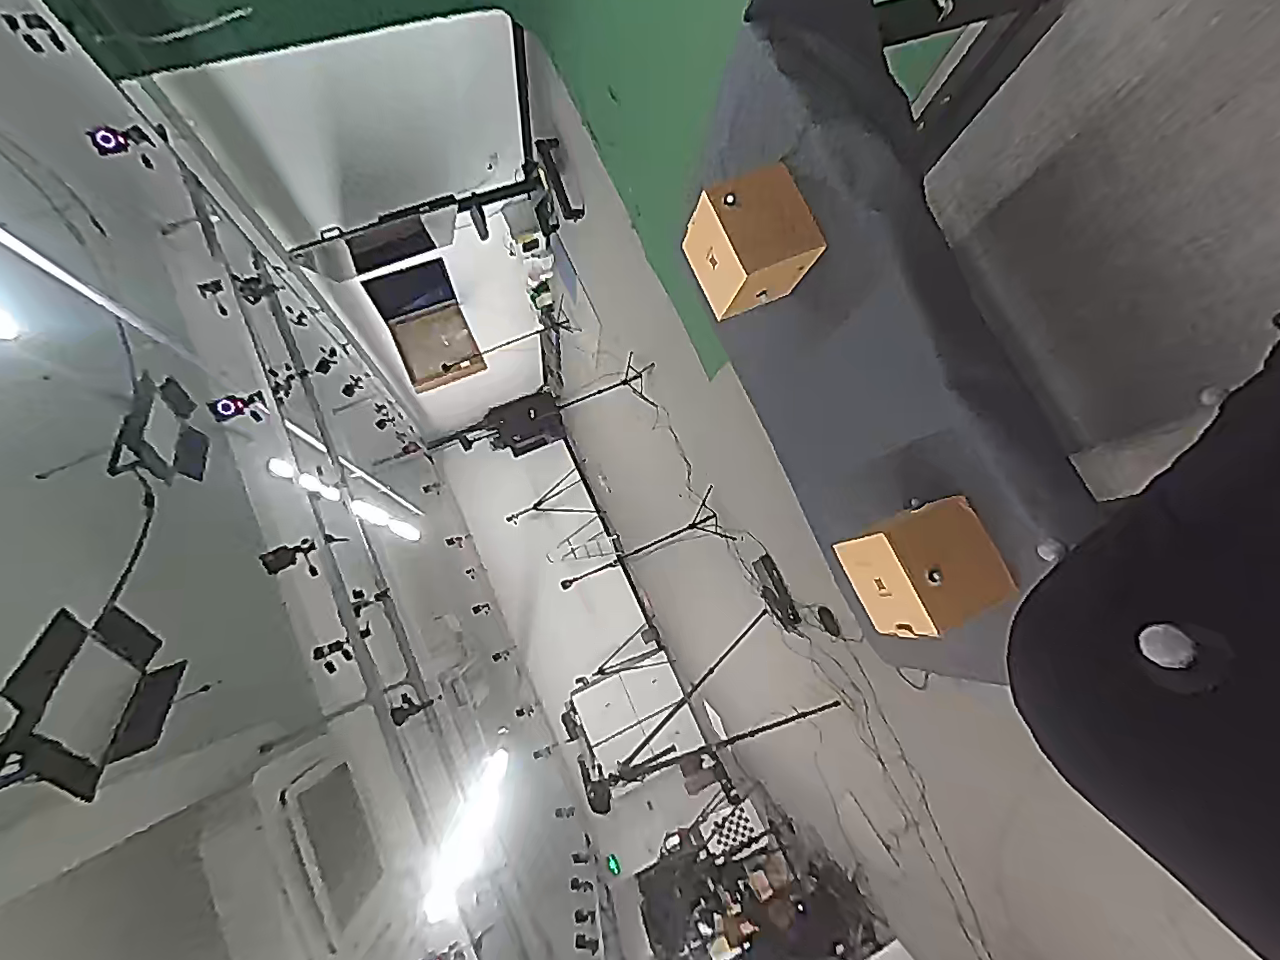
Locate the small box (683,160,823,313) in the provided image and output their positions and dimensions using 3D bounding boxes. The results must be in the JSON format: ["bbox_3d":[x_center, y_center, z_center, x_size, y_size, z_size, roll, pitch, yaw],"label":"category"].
[{"bbox_3d":[0.205,-0.447,0.998,0.179,0.176,0.168,65,168,6],"label":"small box"}]

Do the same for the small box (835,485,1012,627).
[{"bbox_3d":[0.476,0.131,0.920,0.168,0.176,0.179,121,126,-74],"label":"small box"}]
